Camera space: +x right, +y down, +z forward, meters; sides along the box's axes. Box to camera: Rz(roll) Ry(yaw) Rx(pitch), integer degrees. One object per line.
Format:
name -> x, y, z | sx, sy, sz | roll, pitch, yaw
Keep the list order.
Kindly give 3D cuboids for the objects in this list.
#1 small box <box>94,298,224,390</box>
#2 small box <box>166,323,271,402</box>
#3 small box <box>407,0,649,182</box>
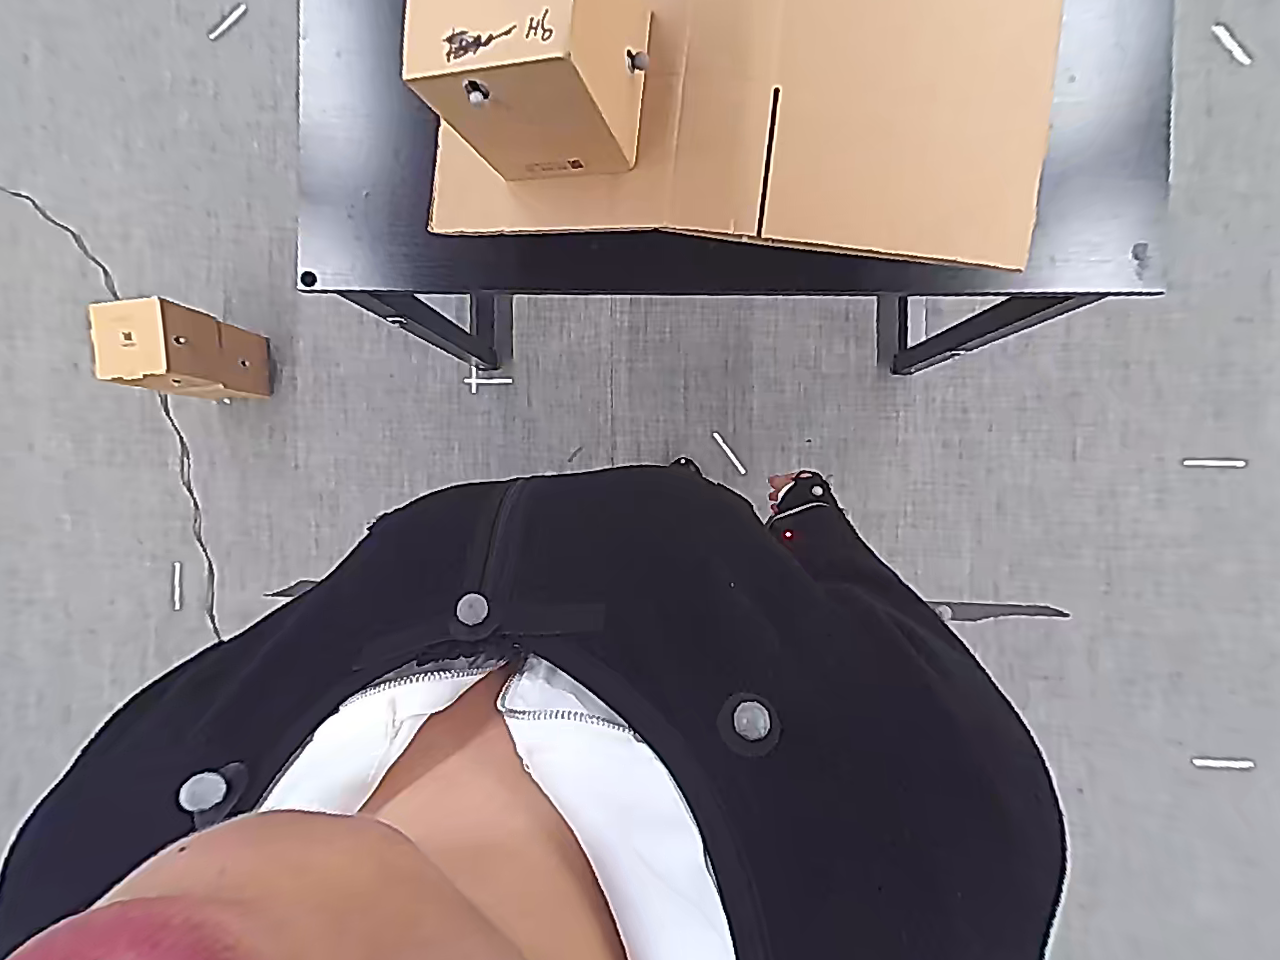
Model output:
small box -> -1.144, -0.317, 1.299 | 0.168, 0.176, 0.179 | -6, 89, 2
small box -> -1.135, -0.312, 1.461 | 0.168, 0.176, 0.179 | -3, 91, 3
small box -> -0.096, -0.428, 0.532 | 0.168, 0.176, 0.179 | 6, 90, 18
